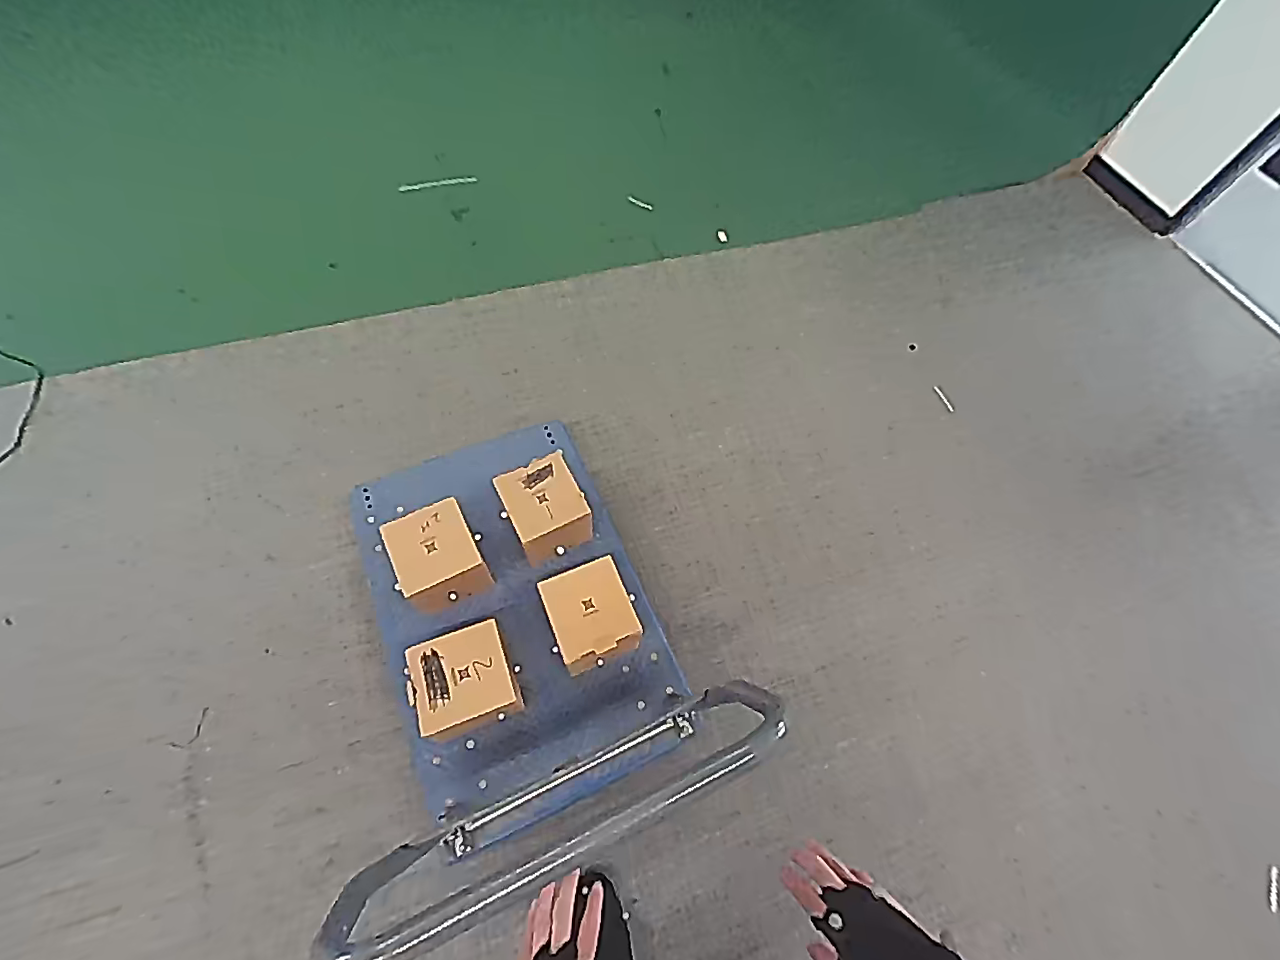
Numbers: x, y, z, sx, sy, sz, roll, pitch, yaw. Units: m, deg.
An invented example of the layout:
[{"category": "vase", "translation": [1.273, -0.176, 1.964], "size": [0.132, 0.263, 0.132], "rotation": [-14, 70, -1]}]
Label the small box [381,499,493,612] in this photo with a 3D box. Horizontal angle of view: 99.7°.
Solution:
[{"category": "small box", "translation": [-0.440, 0.175, 1.196], "size": [0.168, 0.176, 0.179], "rotation": [-24, 67, -16]}]

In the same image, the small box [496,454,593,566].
[{"category": "small box", "translation": [-0.220, 0.074, 1.265], "size": [0.168, 0.176, 0.179], "rotation": [-24, 68, -15]}]

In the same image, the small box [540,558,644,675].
[{"category": "small box", "translation": [-0.106, 0.296, 1.161], "size": [0.168, 0.176, 0.179], "rotation": [-20, 66, -14]}]
